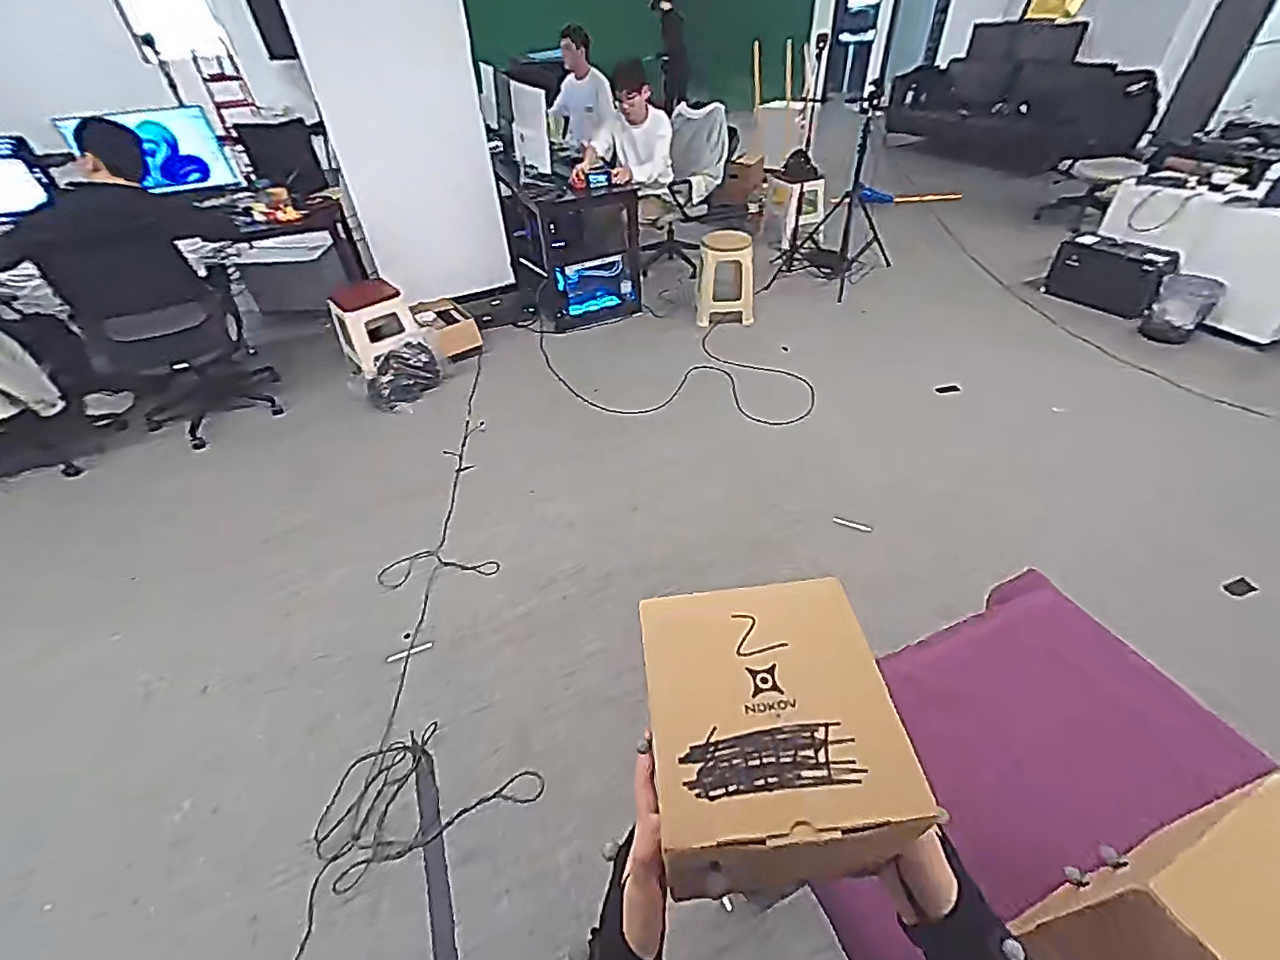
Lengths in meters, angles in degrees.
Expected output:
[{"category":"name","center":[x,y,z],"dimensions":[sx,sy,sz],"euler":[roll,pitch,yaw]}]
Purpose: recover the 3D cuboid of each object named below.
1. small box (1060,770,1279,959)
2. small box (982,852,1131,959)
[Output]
[{"category":"small box","center":[0.460,0.359,0.396],"dimensions":[0.179,0.176,0.168],"euler":[-19,44,-17]},{"category":"small box","center":[0.460,0.484,0.502],"dimensions":[0.179,0.176,0.168],"euler":[-16,44,-16]}]
